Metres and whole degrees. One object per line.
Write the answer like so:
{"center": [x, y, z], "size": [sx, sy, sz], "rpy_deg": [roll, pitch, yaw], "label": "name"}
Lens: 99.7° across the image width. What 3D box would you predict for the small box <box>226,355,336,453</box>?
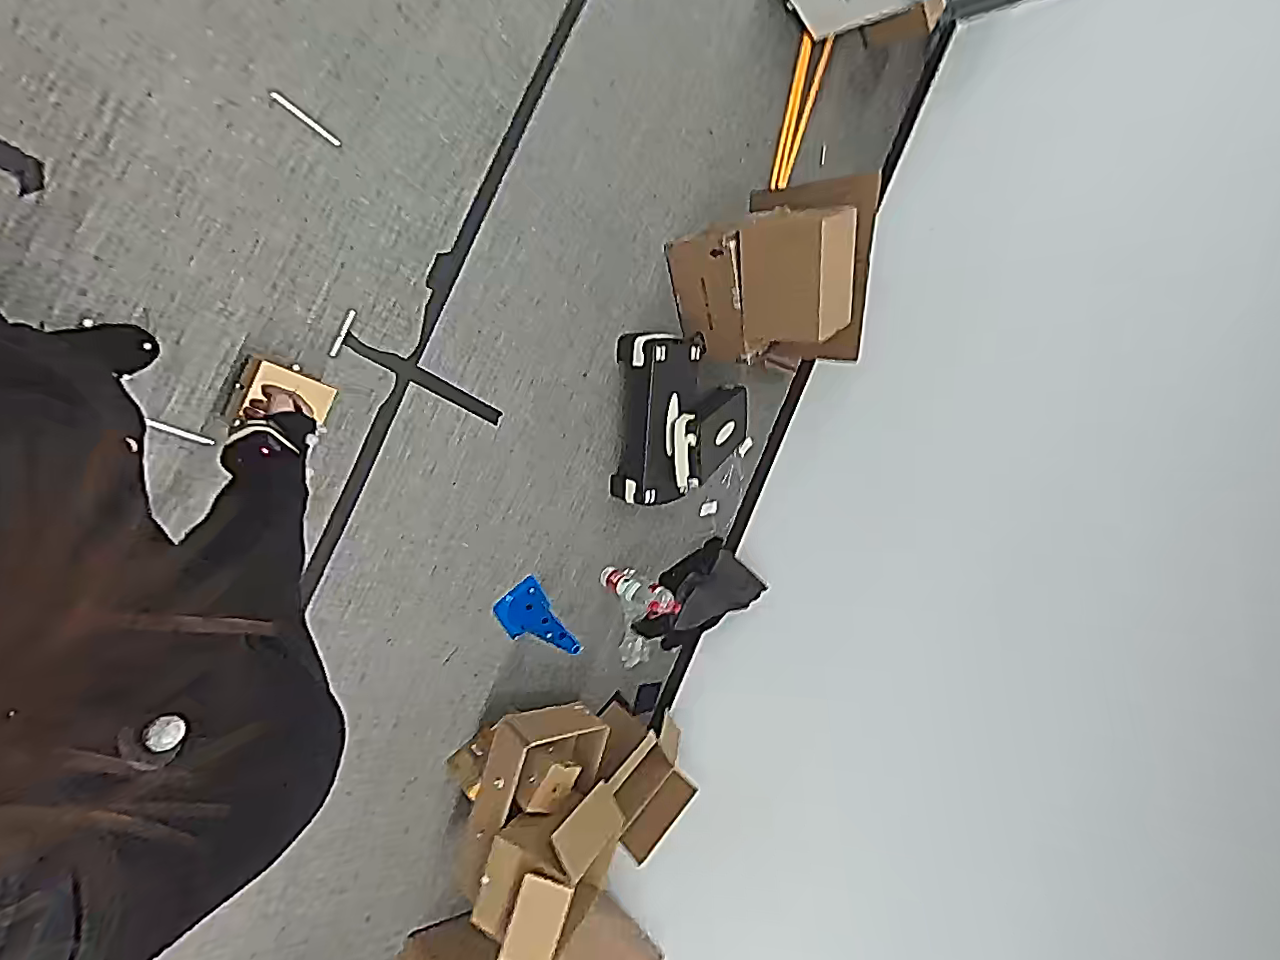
{"center": [-0.884, -0.188, 1.324], "size": [0.168, 0.176, 0.179], "rpy_deg": [26, 86, -46], "label": "small box"}
